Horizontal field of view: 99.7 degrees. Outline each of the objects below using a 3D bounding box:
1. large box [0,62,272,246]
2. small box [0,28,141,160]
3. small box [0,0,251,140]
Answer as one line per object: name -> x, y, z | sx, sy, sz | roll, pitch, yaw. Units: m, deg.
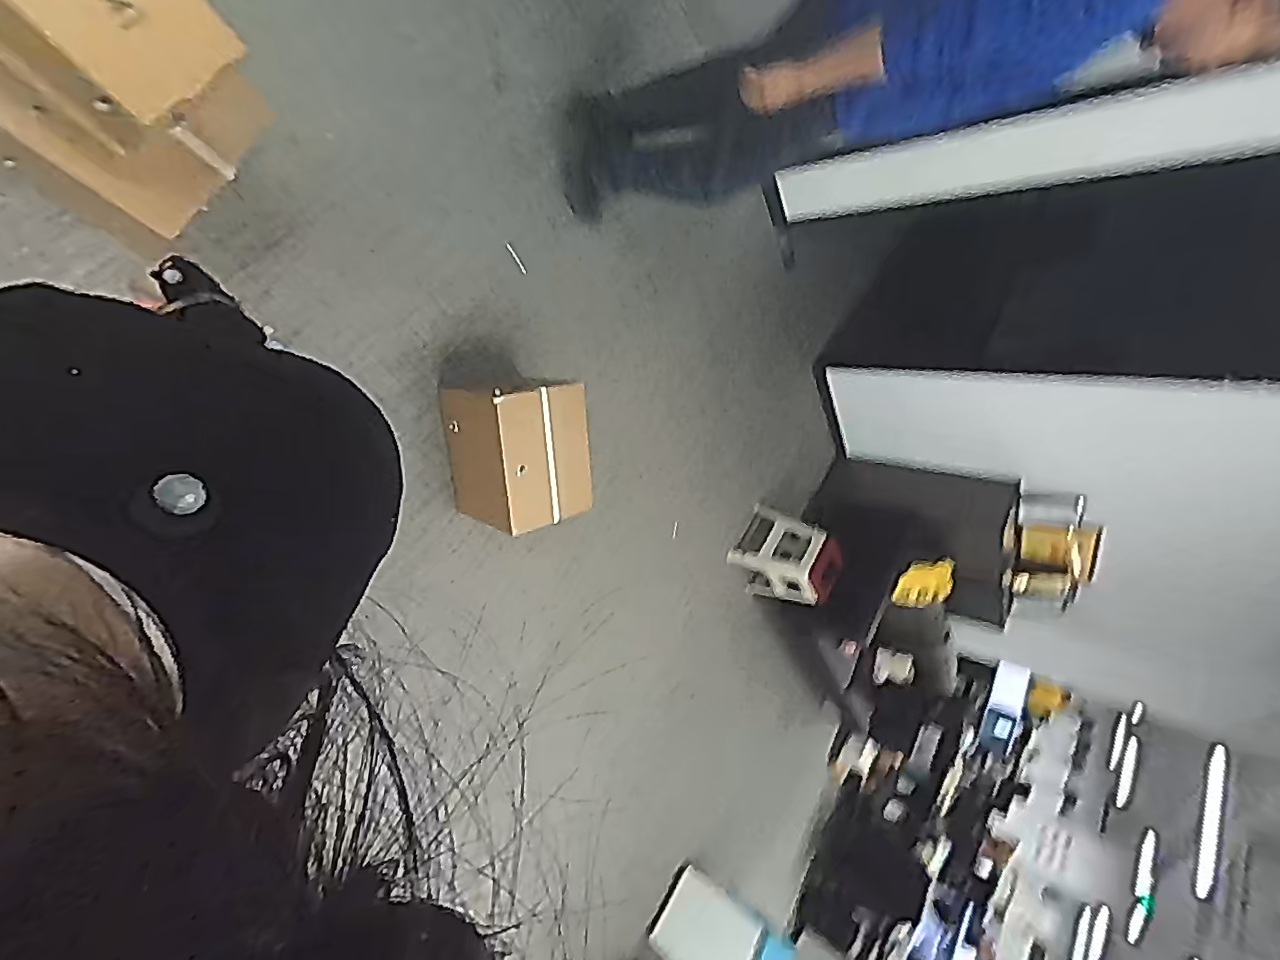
large box -> -0.931, -0.660, 0.888 | 0.408, 0.320, 0.320 | 41, 69, -45
small box -> -0.749, -0.574, 0.740 | 0.179, 0.176, 0.168 | -59, 138, -18
small box -> -0.623, -0.546, 0.641 | 0.168, 0.176, 0.179 | -59, 138, -18
